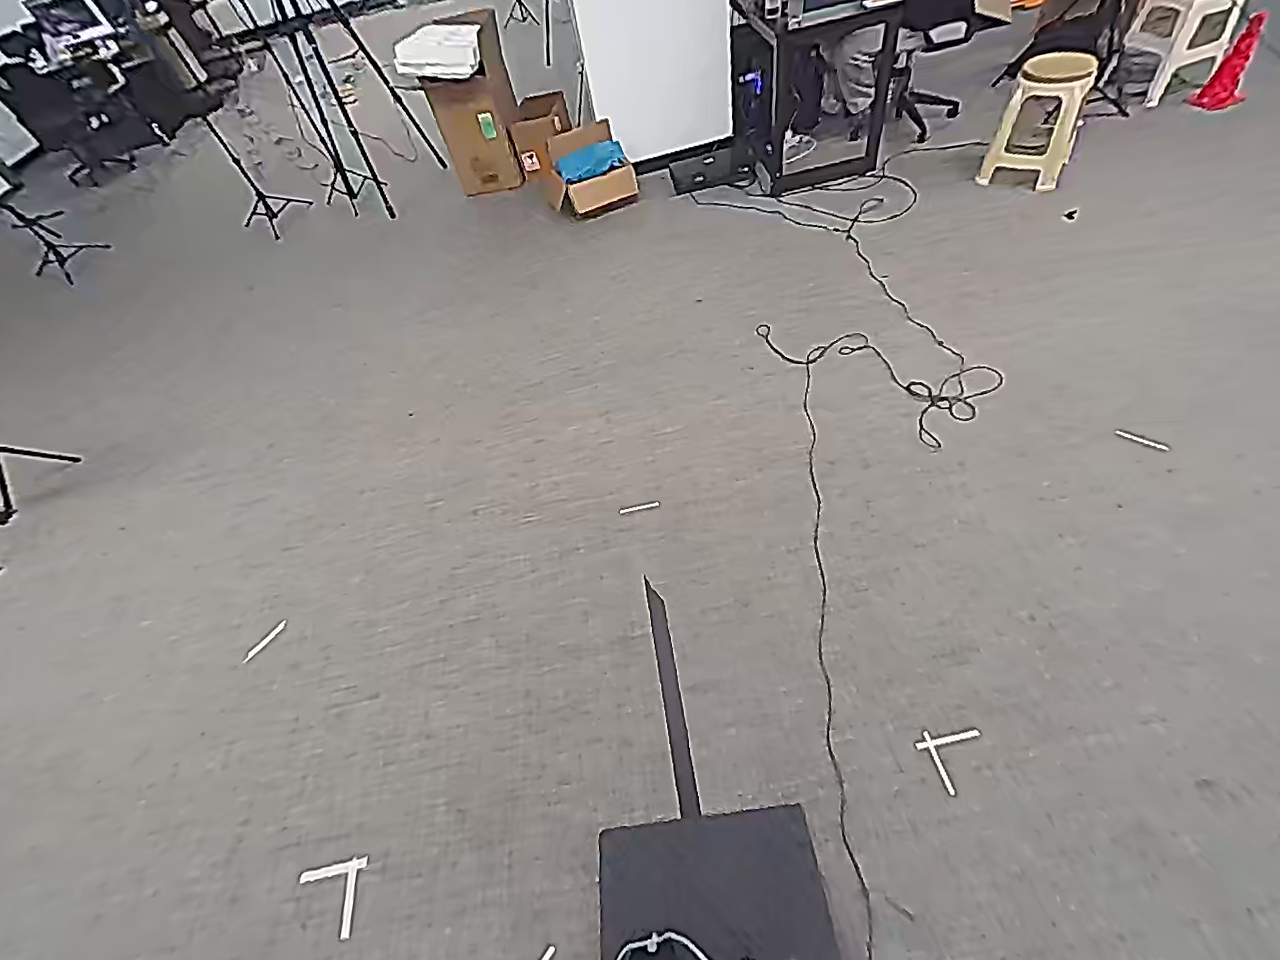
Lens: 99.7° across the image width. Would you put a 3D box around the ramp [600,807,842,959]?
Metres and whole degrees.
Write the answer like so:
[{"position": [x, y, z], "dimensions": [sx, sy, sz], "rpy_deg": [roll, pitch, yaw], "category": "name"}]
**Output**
[{"position": [0.174, 1.141, 0.918], "dimensions": [0.509, 0.206, 0.991], "rpy_deg": [-12, 51, 4], "category": "ramp"}]
